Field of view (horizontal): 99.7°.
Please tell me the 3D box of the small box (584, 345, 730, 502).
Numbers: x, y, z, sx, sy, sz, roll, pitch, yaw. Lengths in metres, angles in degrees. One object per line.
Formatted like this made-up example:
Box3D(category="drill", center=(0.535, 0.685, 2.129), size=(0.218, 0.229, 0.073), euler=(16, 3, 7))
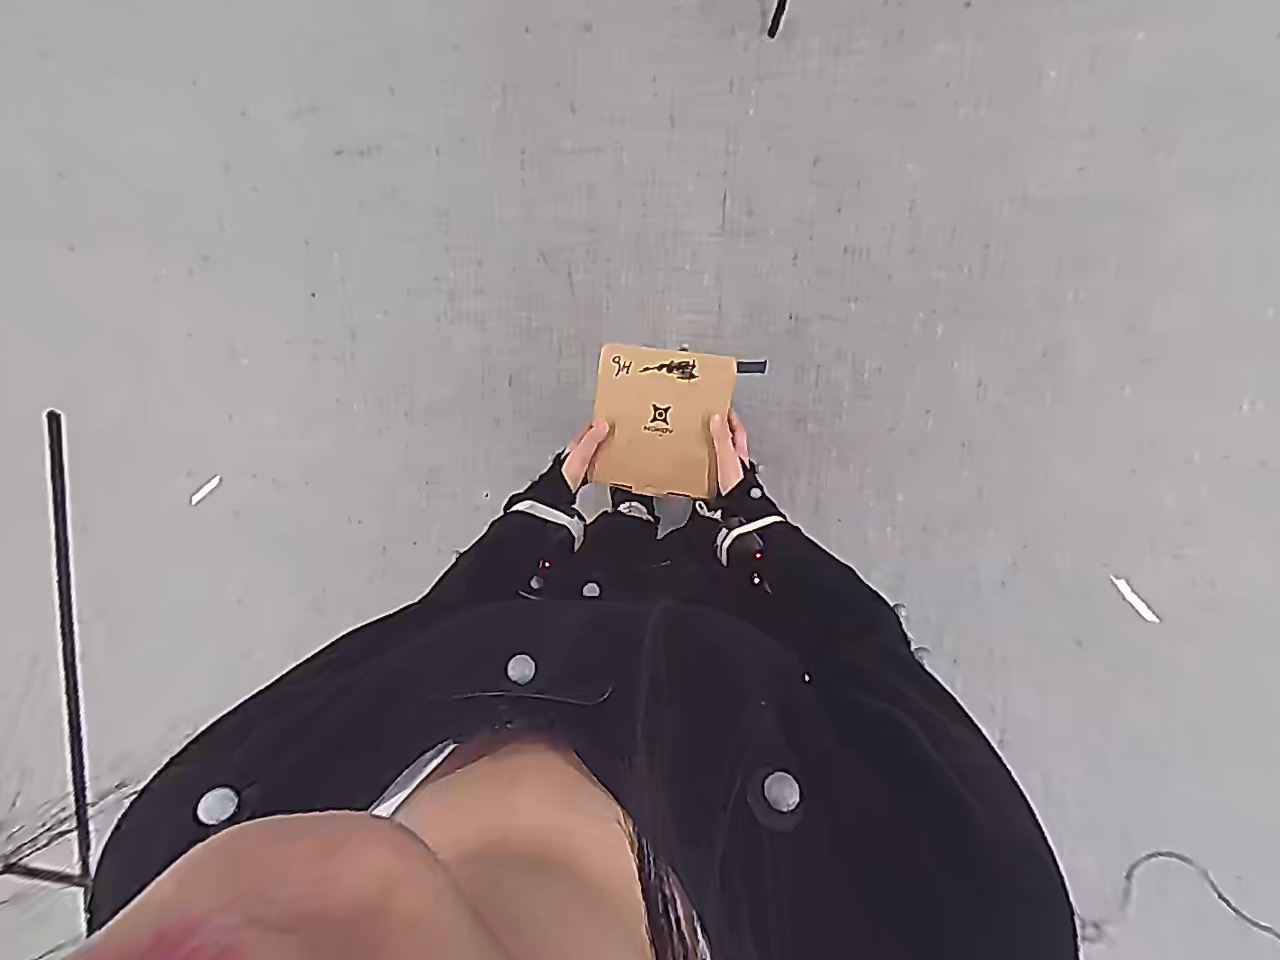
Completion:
Box3D(category="small box", center=(0.030, -0.079, 0.742), size=(0.168, 0.176, 0.179), euler=(8, 98, 7))
